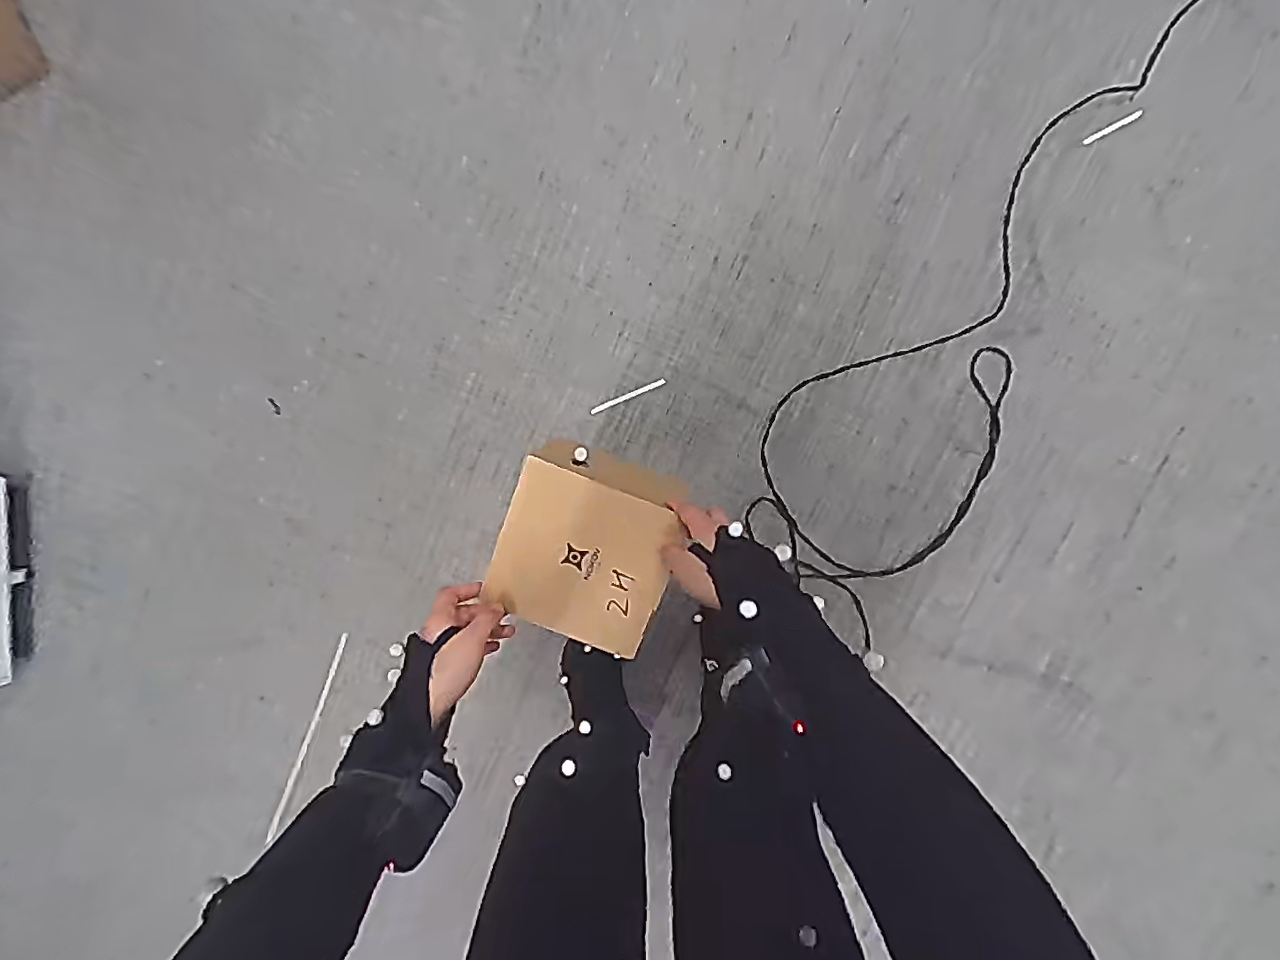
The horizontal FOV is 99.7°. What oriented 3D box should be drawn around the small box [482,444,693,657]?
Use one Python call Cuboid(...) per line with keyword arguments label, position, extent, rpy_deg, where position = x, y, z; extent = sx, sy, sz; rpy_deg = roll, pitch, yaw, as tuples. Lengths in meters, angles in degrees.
Cuboid(label="small box", position=(-0.051, 0.066, 0.622), extent=(0.179, 0.176, 0.168), rpy_deg=(21, 103, -1))
